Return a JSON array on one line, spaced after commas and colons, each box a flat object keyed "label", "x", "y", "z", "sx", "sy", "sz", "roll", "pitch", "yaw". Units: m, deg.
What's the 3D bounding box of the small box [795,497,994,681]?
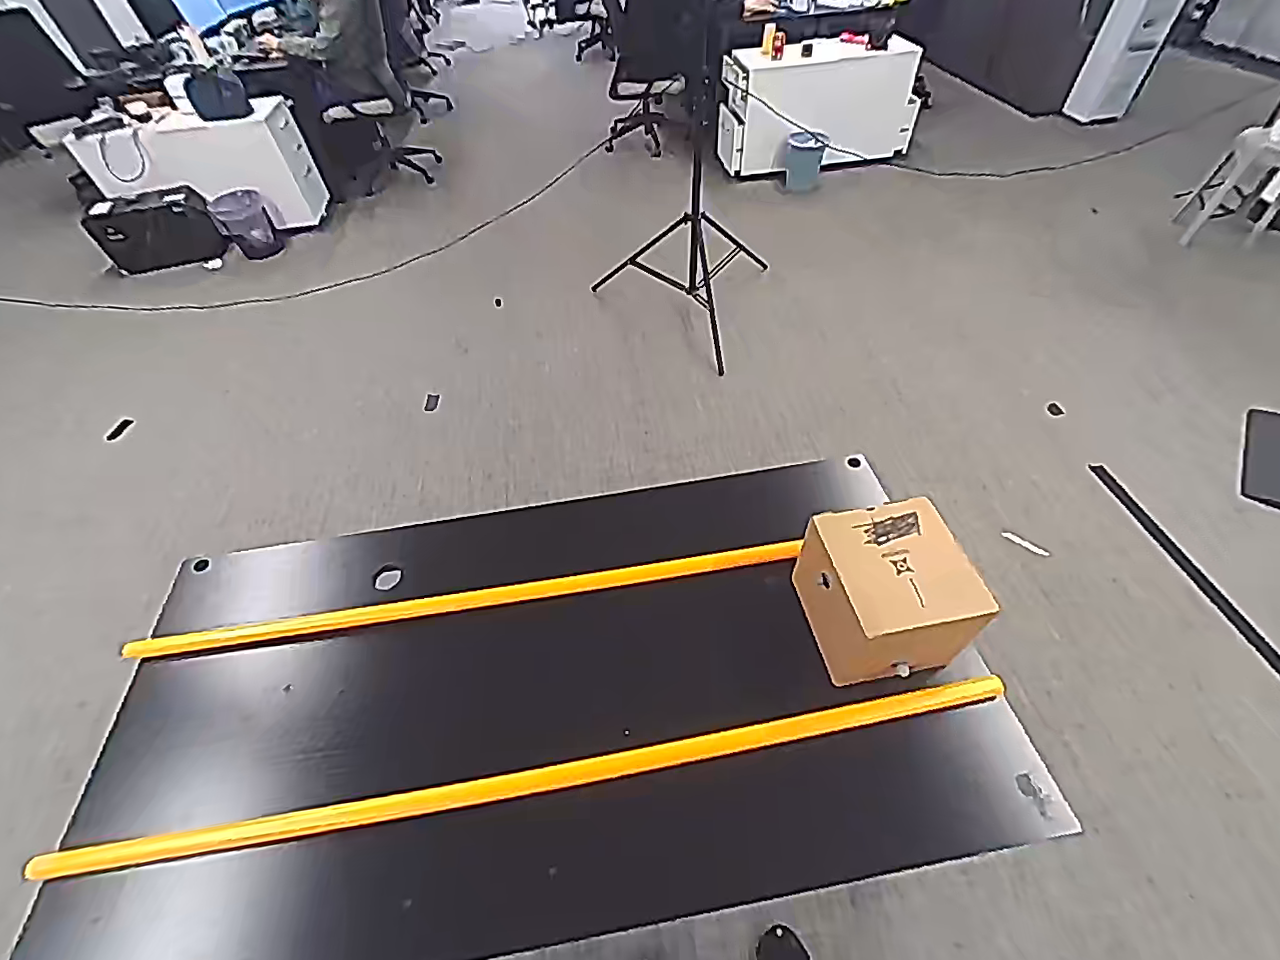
[{"label": "small box", "x": 0.327, "y": 0.151, "z": 0.743, "sx": 0.168, "sy": 0.176, "sz": 0.179, "roll": -10, "pitch": 51, "yaw": -3}]
